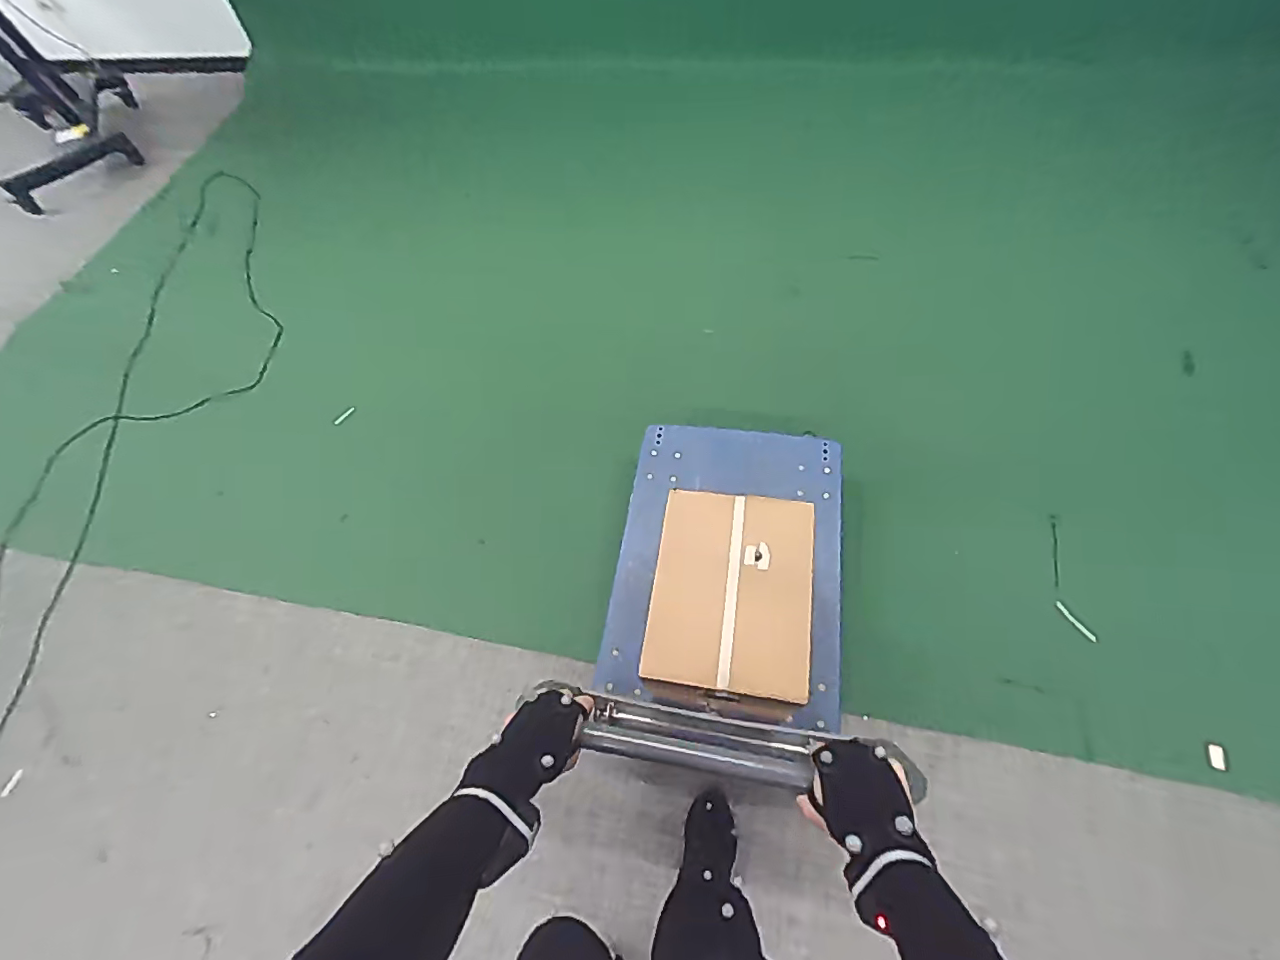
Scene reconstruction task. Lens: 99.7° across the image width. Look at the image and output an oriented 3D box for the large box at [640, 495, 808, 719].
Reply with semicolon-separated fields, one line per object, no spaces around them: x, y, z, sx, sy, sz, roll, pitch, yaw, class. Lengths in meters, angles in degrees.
0.197;0.292;1.223;0.320;0.320;0.408;6;62;10;large box
